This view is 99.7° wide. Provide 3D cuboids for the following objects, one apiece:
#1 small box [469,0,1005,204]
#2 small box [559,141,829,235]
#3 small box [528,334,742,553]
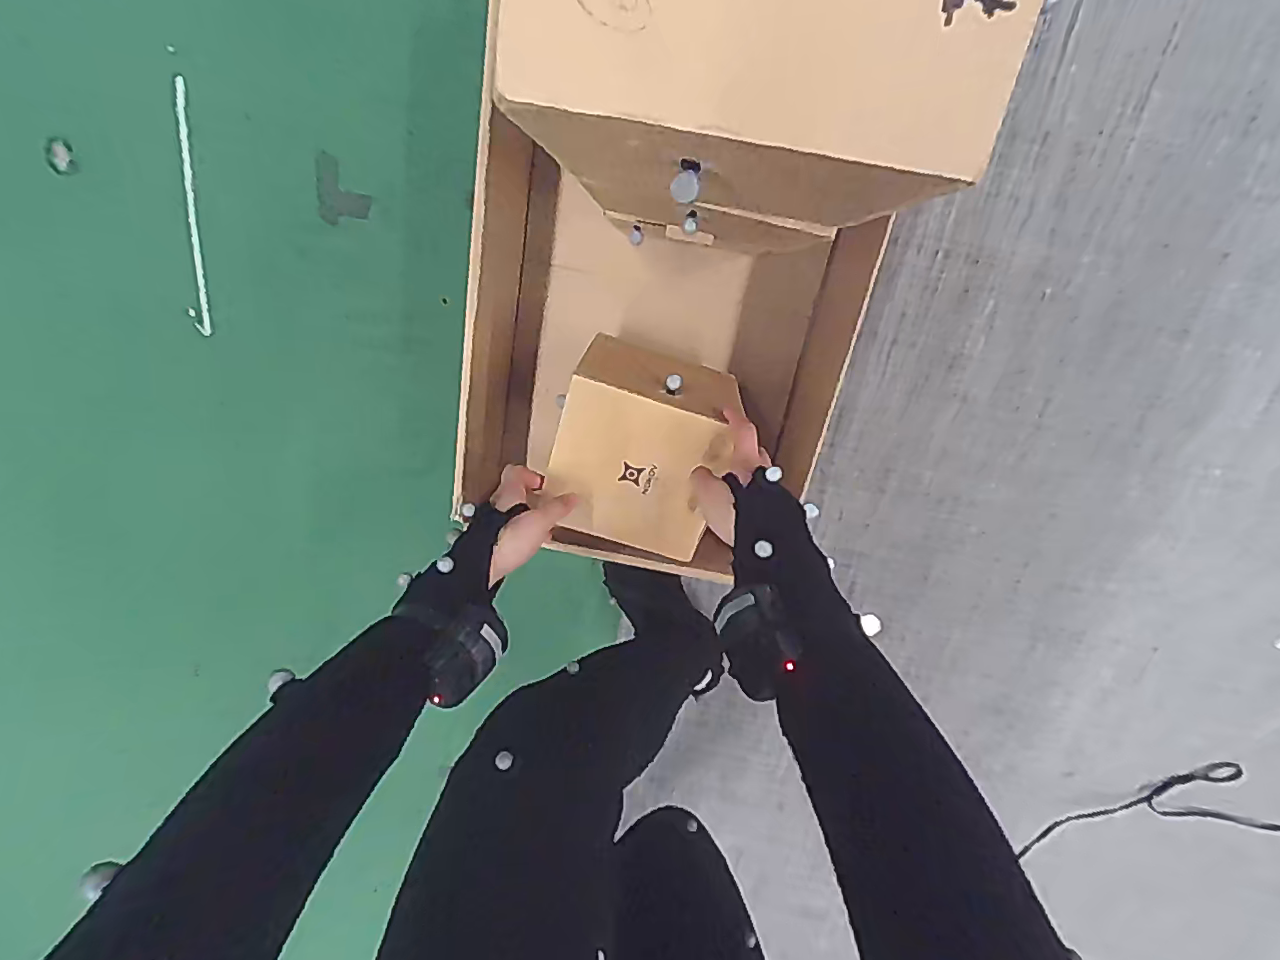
[{"bbox_3d":[0.044,-0.232,0.236,0.179,0.176,0.168,10,110,1],"label":"small box"},{"bbox_3d":[0.053,-0.285,0.391,0.179,0.176,0.168,12,110,-2],"label":"small box"},{"bbox_3d":[-0.007,-0.050,0.603,0.179,0.176,0.168,16,118,-6],"label":"small box"}]
